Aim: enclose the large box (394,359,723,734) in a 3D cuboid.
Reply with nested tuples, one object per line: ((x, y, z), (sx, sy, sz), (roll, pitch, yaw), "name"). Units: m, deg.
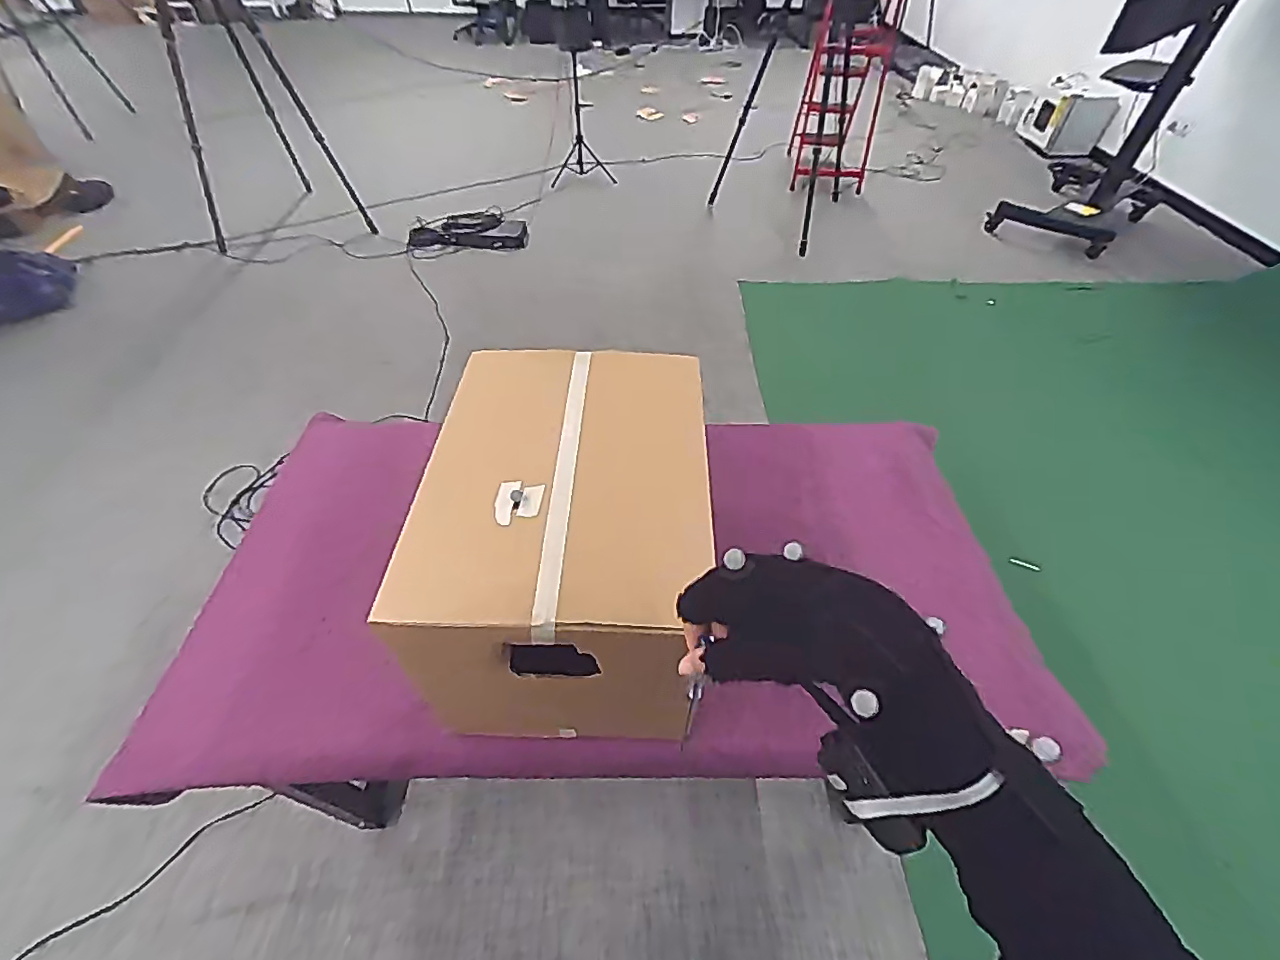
((-0.078, 0.086, 0.736), (0.320, 0.320, 0.408), (2, 49, 0), "large box")
